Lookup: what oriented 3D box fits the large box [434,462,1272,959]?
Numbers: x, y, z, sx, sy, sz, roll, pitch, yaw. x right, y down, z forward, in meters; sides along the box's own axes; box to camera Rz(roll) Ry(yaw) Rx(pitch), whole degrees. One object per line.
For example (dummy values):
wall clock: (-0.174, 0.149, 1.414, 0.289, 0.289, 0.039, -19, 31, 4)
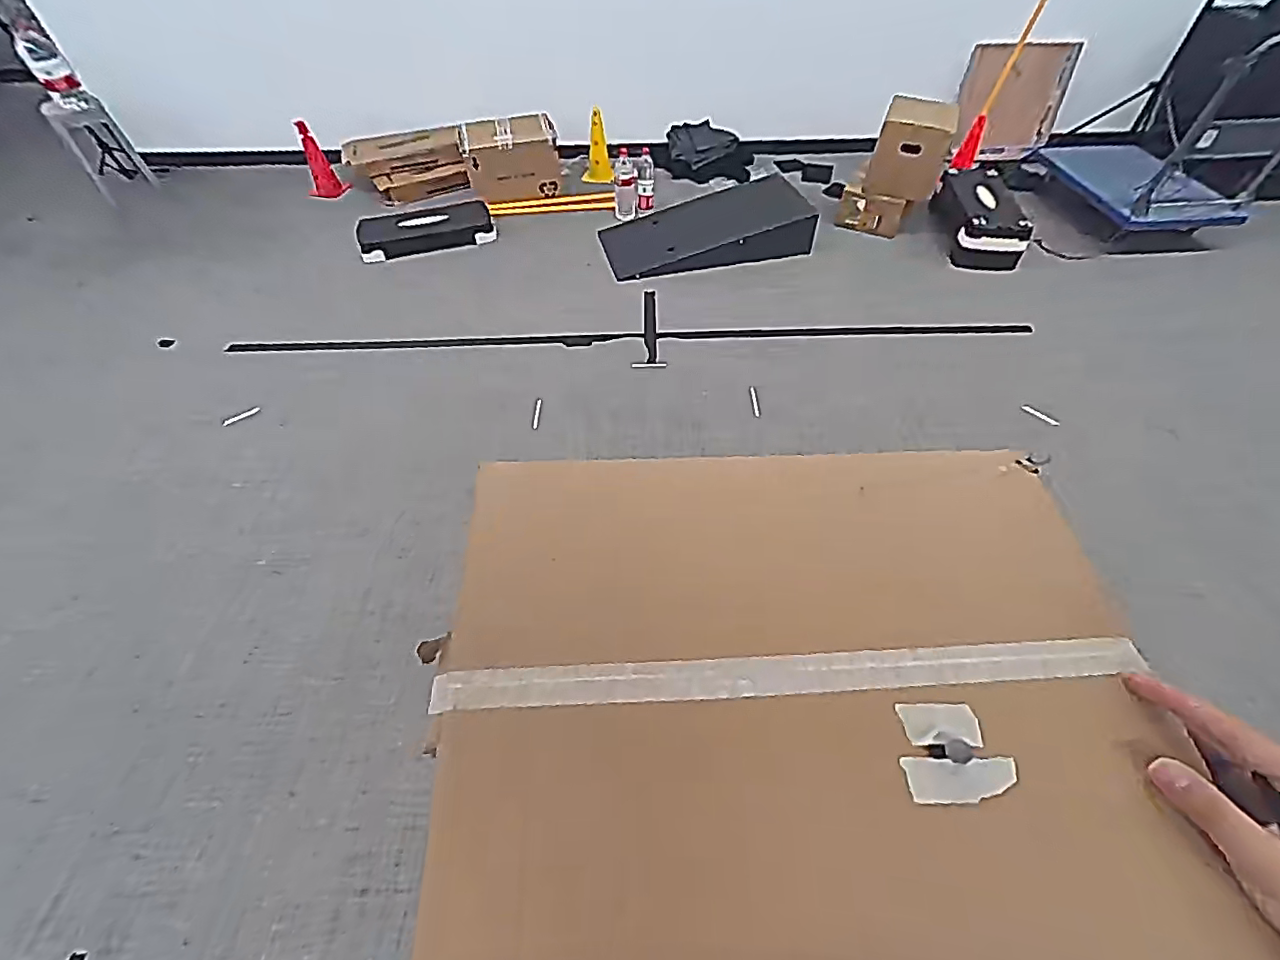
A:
large box: (0.087, 0.203, 0.446, 0.408, 0.320, 0.320, -2, 56, -4)
